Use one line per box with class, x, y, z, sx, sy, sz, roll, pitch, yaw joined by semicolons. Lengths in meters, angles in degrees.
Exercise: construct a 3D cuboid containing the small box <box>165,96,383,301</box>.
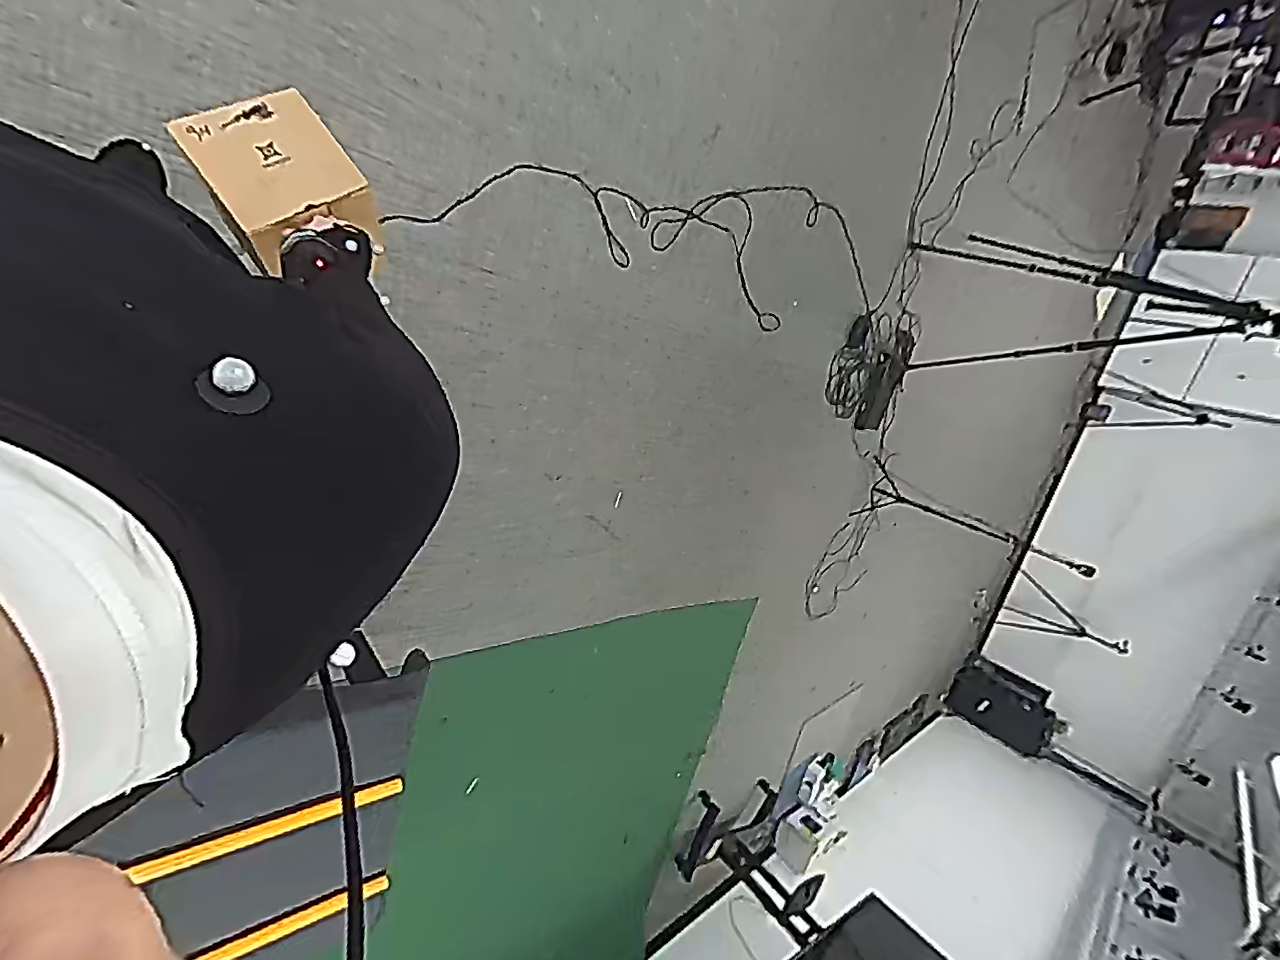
small box;-0.498;-0.385;0.770;0.168;0.176;0.179;-39;88;-21
